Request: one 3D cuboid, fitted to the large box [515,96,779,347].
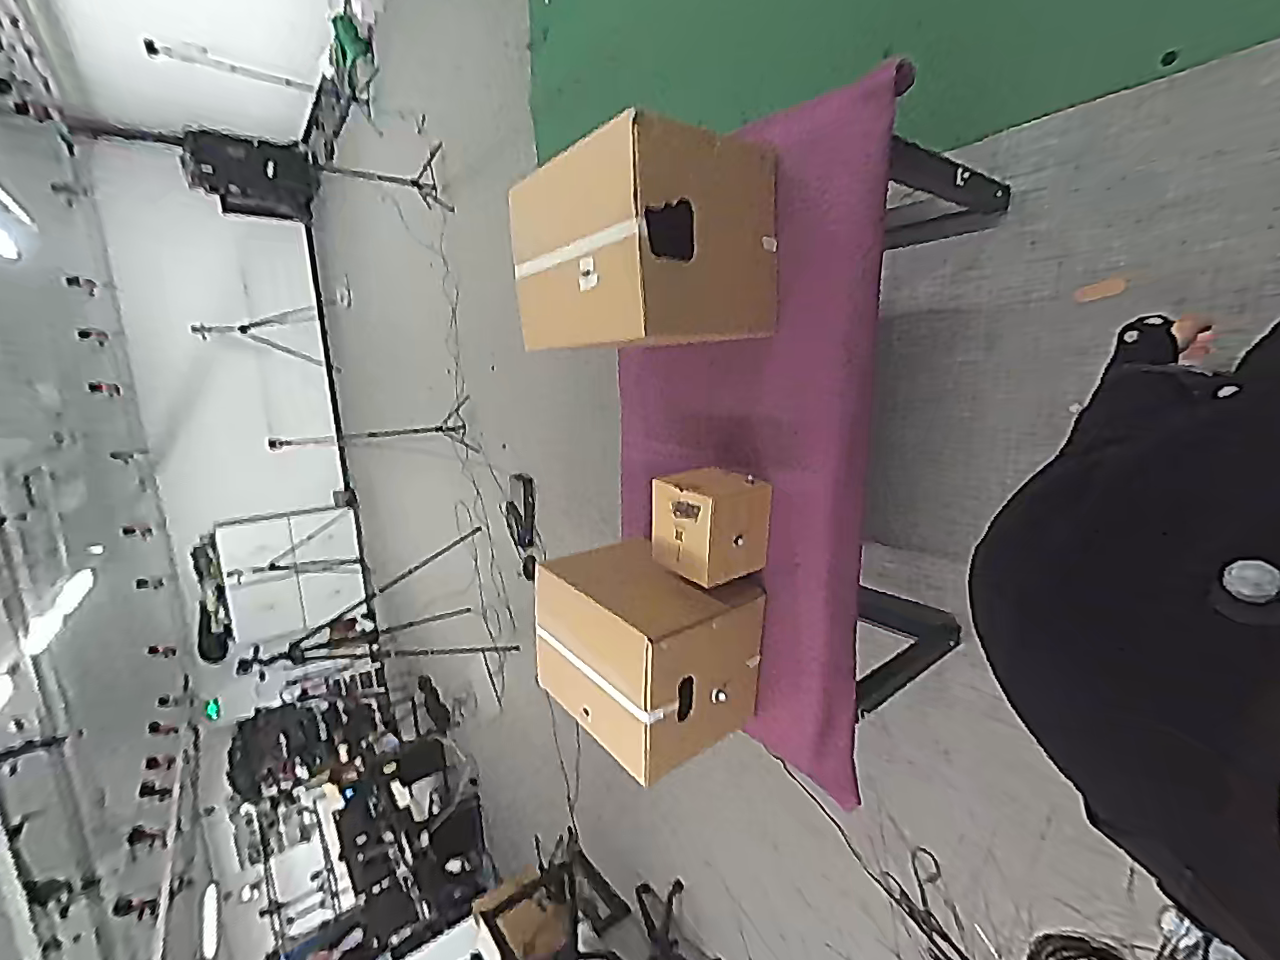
[{"bbox_3d":[0.005,-0.427,1.015,0.408,0.320,0.320,11,109,51],"label":"large box"}]
